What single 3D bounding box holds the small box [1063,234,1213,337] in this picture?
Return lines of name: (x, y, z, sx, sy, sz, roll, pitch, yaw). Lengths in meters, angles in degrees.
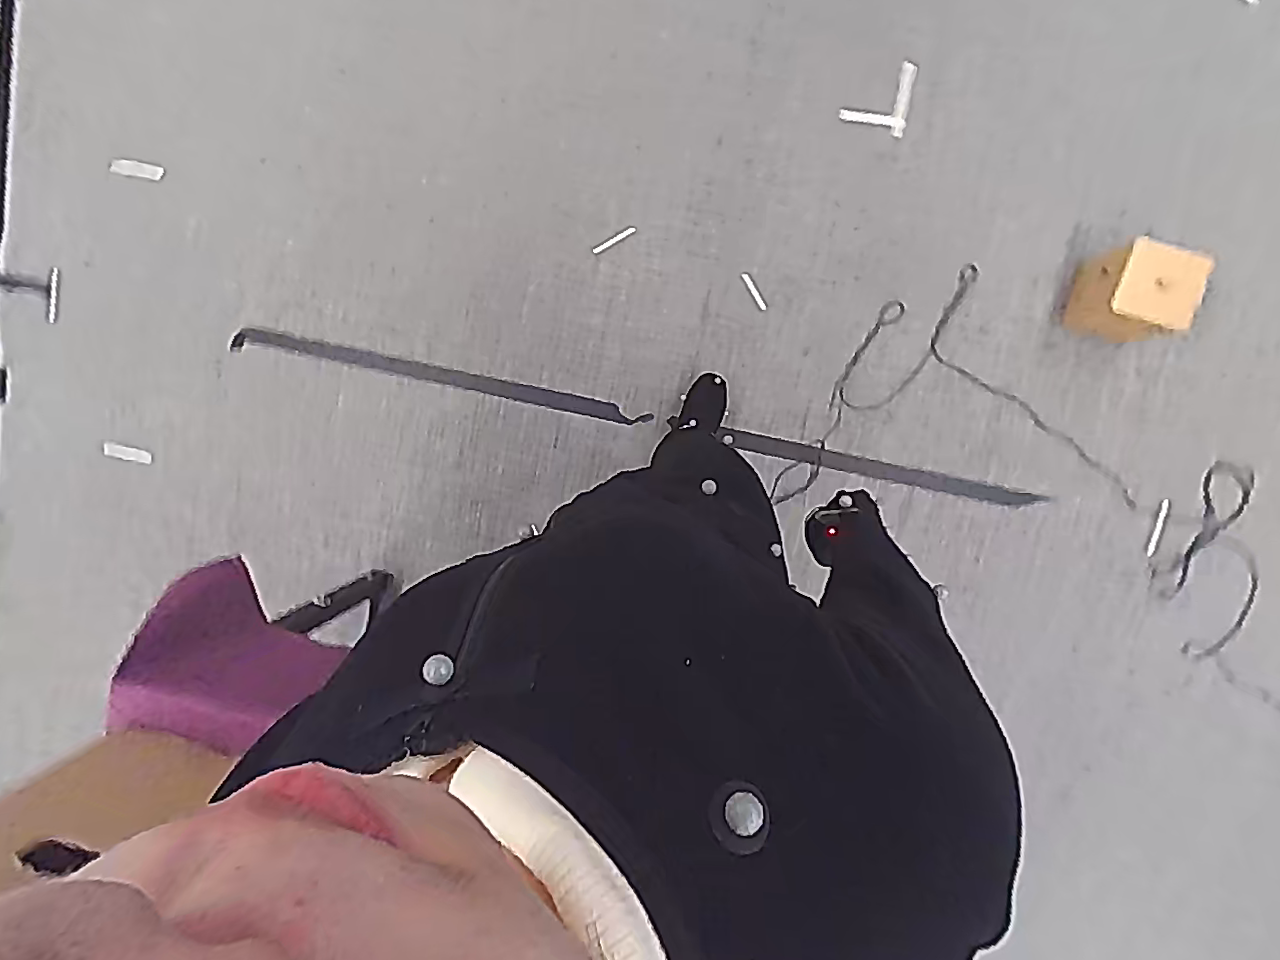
small box: (1.164, -0.451, 1.282, 0.179, 0.176, 0.168, 17, 96, 2)
